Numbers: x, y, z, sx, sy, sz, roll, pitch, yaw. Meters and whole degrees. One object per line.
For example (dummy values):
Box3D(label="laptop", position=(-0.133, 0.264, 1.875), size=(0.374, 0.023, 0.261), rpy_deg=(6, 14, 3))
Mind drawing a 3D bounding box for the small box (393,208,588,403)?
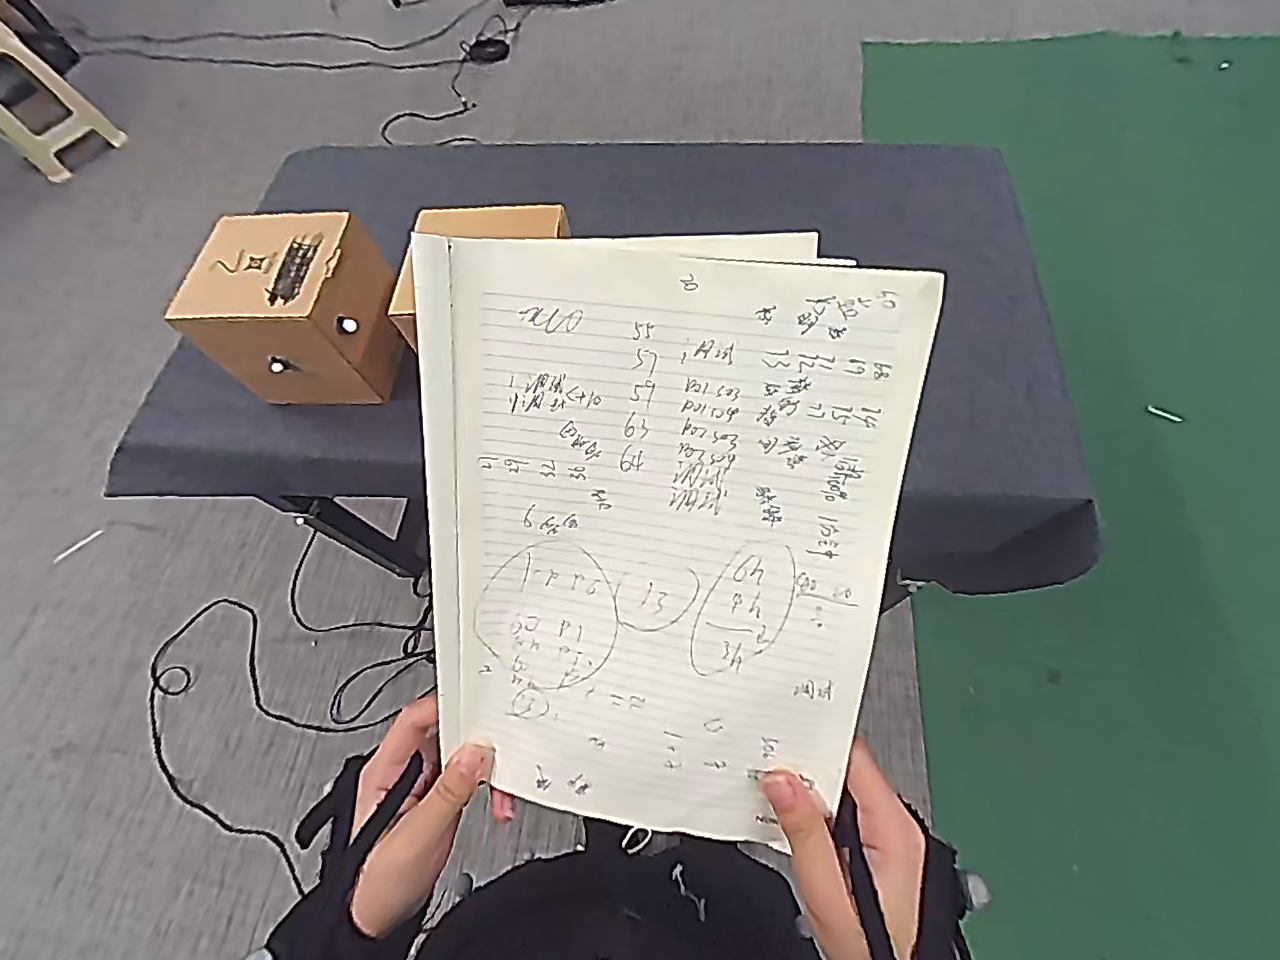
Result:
Box3D(label="small box", position=(-0.170, -0.209, 0.677), size=(0.179, 0.176, 0.168), rpy_deg=(0, 64, 5))
